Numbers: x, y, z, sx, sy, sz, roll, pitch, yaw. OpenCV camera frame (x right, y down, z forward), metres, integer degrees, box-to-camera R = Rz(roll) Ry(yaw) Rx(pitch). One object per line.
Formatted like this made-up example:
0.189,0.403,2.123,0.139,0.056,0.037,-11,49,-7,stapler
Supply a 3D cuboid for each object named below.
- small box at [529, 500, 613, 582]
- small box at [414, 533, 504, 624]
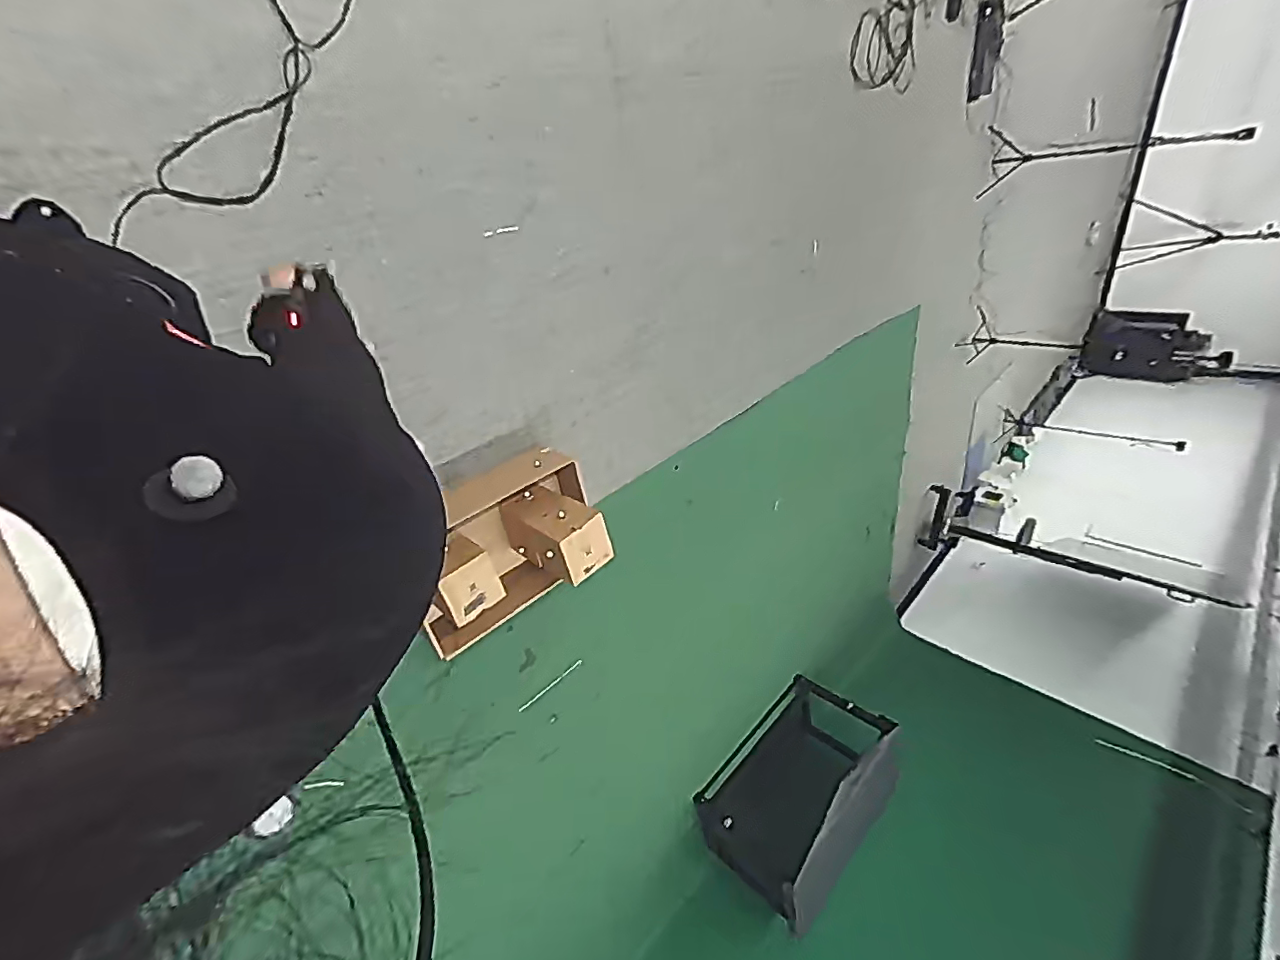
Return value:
-0.214,0.176,1.649,0.168,0.176,0.179,-35,127,-31,small box
-0.537,0.285,1.604,0.168,0.176,0.179,-35,126,-33,small box
